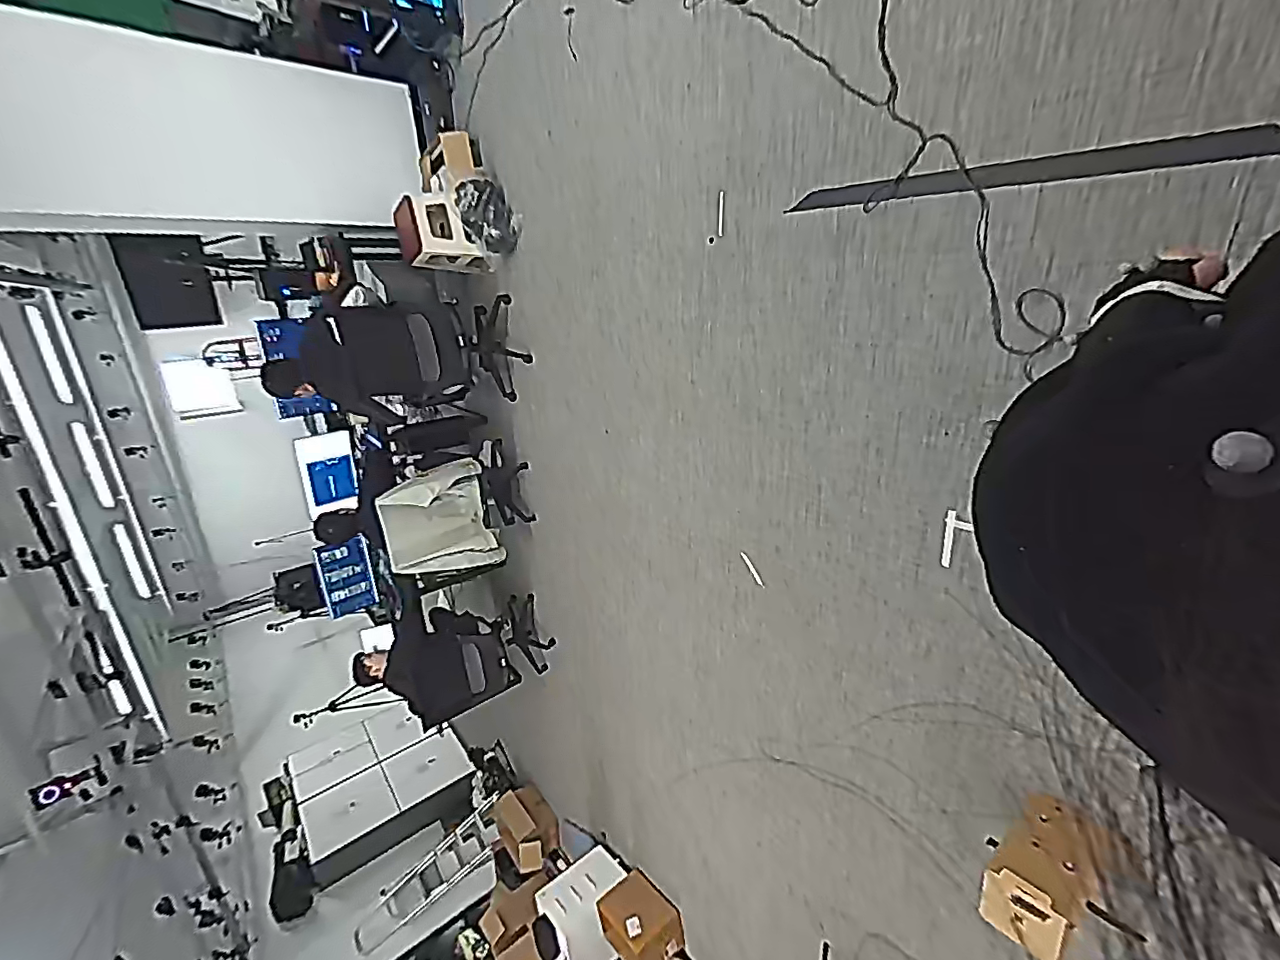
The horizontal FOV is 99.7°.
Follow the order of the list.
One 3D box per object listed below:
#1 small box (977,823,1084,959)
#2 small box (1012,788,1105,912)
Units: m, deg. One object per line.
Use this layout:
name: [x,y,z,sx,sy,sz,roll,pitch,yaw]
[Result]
small box: [0.971,1.008,1.343,0.168,0.176,0.179,17,118,49]
small box: [1.102,0.969,1.435,0.168,0.176,0.179,16,118,50]
